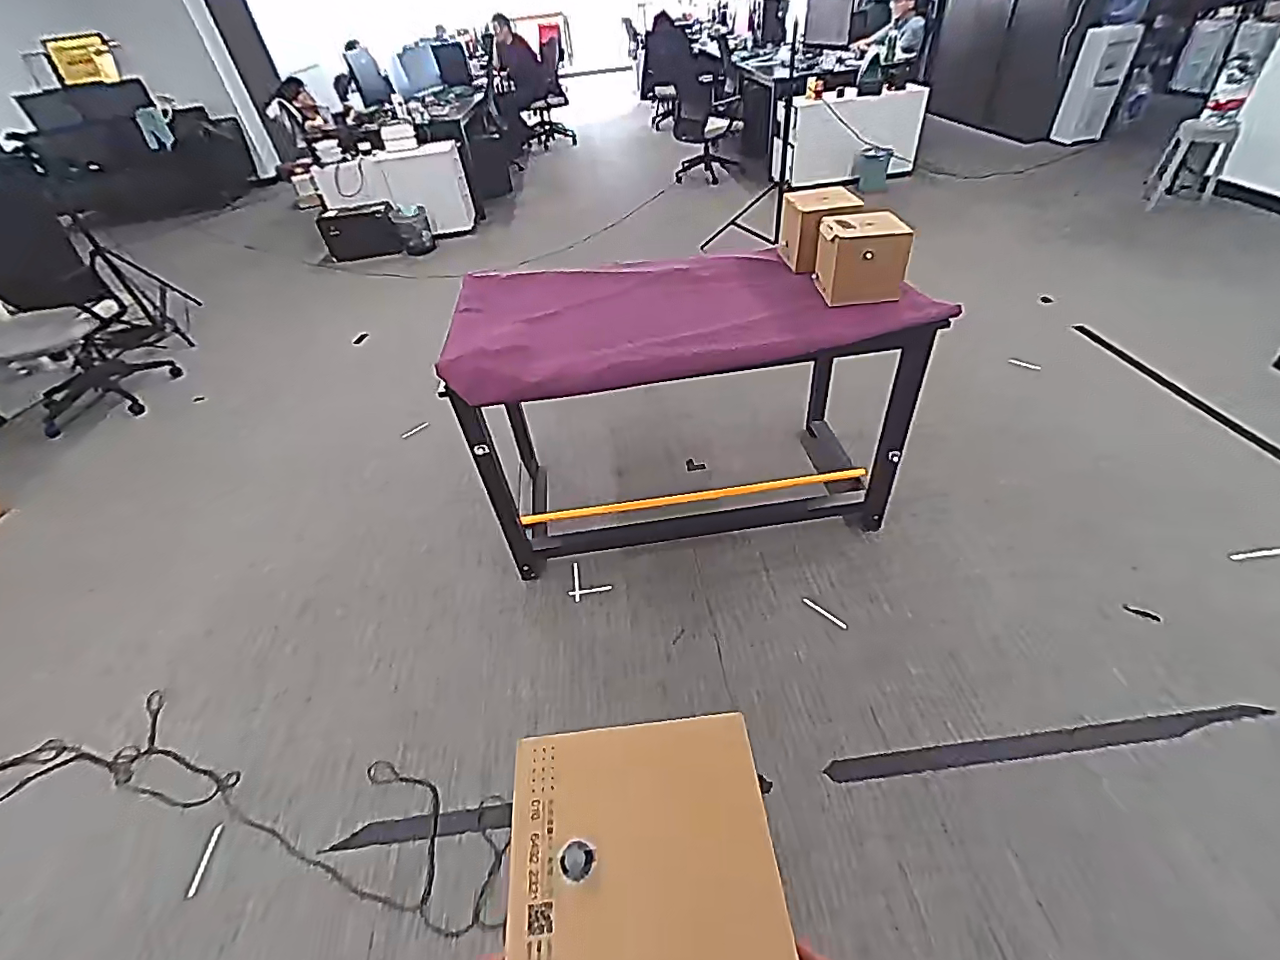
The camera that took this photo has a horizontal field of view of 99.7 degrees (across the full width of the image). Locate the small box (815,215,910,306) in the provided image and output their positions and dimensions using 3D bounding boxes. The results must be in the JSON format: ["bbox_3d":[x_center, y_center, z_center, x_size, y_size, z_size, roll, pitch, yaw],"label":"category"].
[{"bbox_3d":[0.551,-0.554,1.372,0.179,0.176,0.168,-4,41,3],"label":"small box"}]

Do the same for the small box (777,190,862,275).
[{"bbox_3d":[0.504,-0.707,1.545,0.179,0.176,0.168,-8,43,-1],"label":"small box"}]
